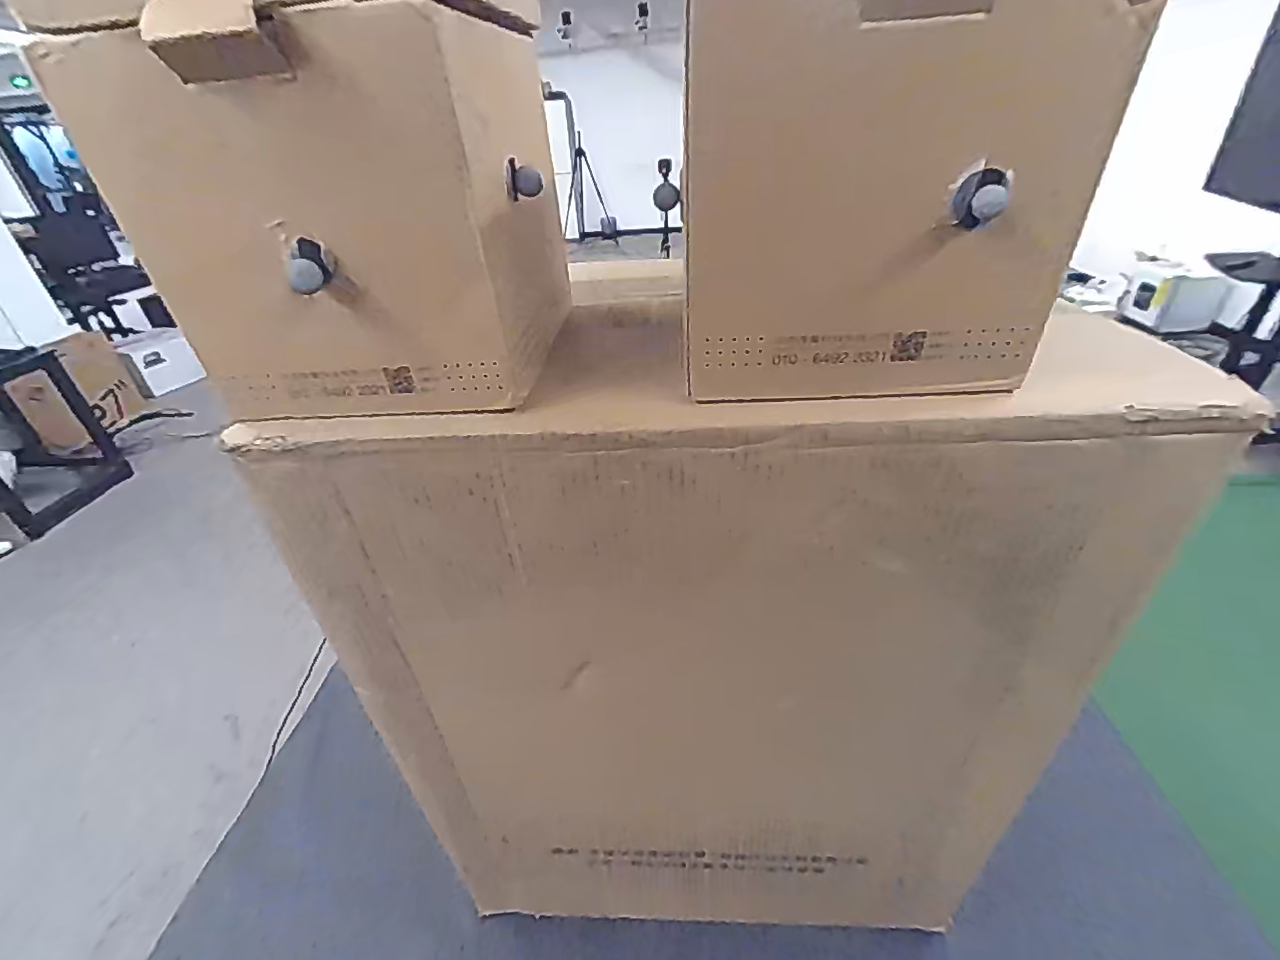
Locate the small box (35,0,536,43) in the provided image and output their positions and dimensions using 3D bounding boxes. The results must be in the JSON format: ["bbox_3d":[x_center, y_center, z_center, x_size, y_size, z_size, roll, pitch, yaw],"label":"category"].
[{"bbox_3d":[-0.154,-0.289,0.226,0.179,0.176,0.168,-1,35,6],"label":"small box"}]

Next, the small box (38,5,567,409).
[{"bbox_3d":[-0.144,-0.151,0.316,0.168,0.176,0.179,0,36,5],"label":"small box"}]

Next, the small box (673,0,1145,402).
[{"bbox_3d":[0.103,-0.151,0.296,0.168,0.176,0.179,1,34,4],"label":"small box"}]
